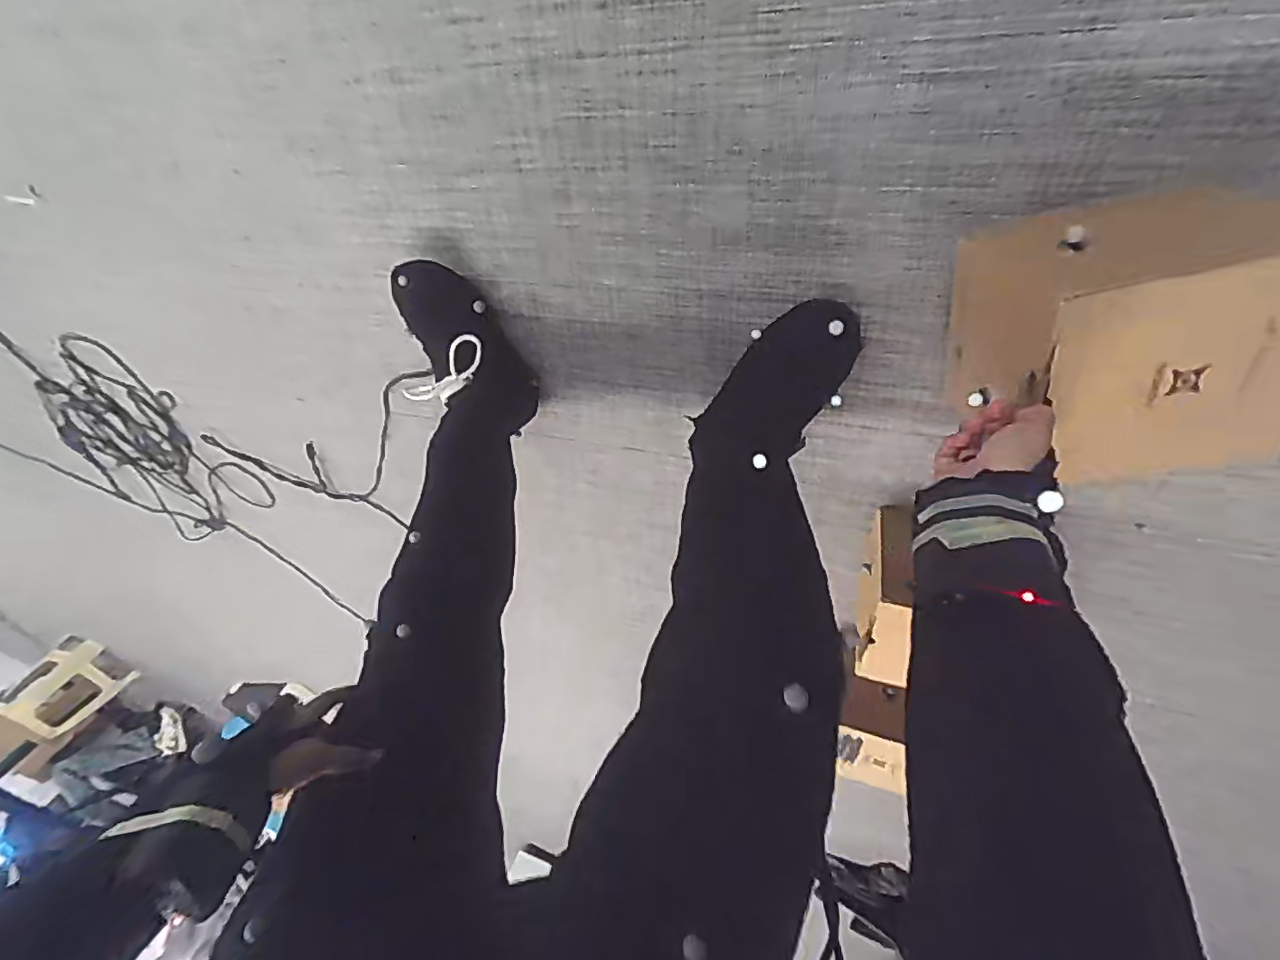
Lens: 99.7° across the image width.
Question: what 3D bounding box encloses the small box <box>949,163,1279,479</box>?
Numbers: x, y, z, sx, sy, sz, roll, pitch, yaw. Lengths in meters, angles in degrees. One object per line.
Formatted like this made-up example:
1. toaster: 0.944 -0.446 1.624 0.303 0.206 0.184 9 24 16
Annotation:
1. small box: 0.372 -0.129 0.429 0.179 0.176 0.168 -13 126 10

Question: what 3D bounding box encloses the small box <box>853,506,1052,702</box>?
1. small box: 0.387 0.154 0.705 0.179 0.176 0.168 10 132 17
